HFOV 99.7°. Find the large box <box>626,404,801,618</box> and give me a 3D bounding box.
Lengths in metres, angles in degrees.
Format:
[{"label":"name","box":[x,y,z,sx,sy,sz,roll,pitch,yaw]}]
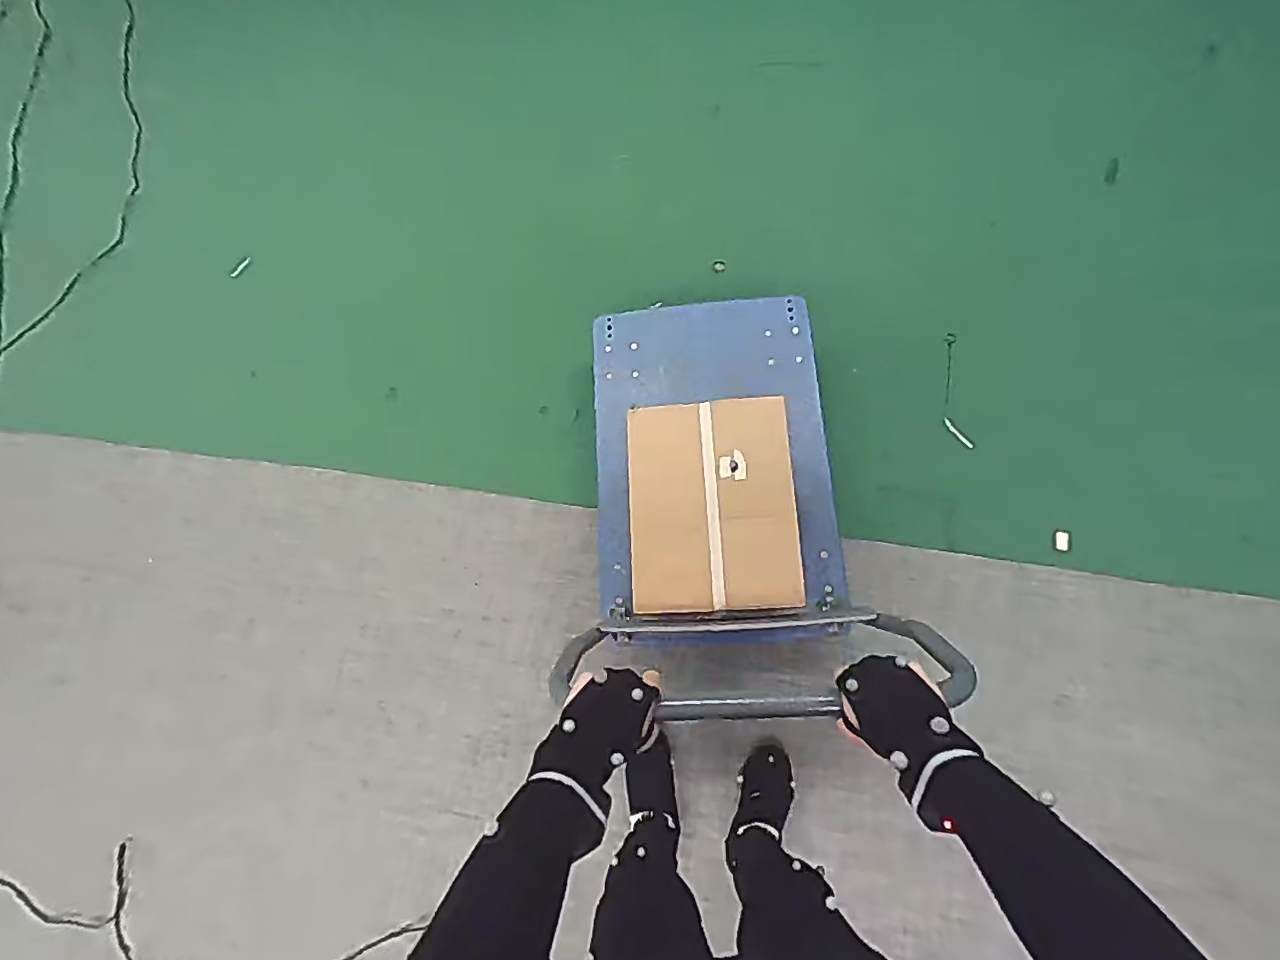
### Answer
[{"label":"large box","box":[0.151,0.088,1.189,0.320,0.320,0.408,-4,76,5]}]
